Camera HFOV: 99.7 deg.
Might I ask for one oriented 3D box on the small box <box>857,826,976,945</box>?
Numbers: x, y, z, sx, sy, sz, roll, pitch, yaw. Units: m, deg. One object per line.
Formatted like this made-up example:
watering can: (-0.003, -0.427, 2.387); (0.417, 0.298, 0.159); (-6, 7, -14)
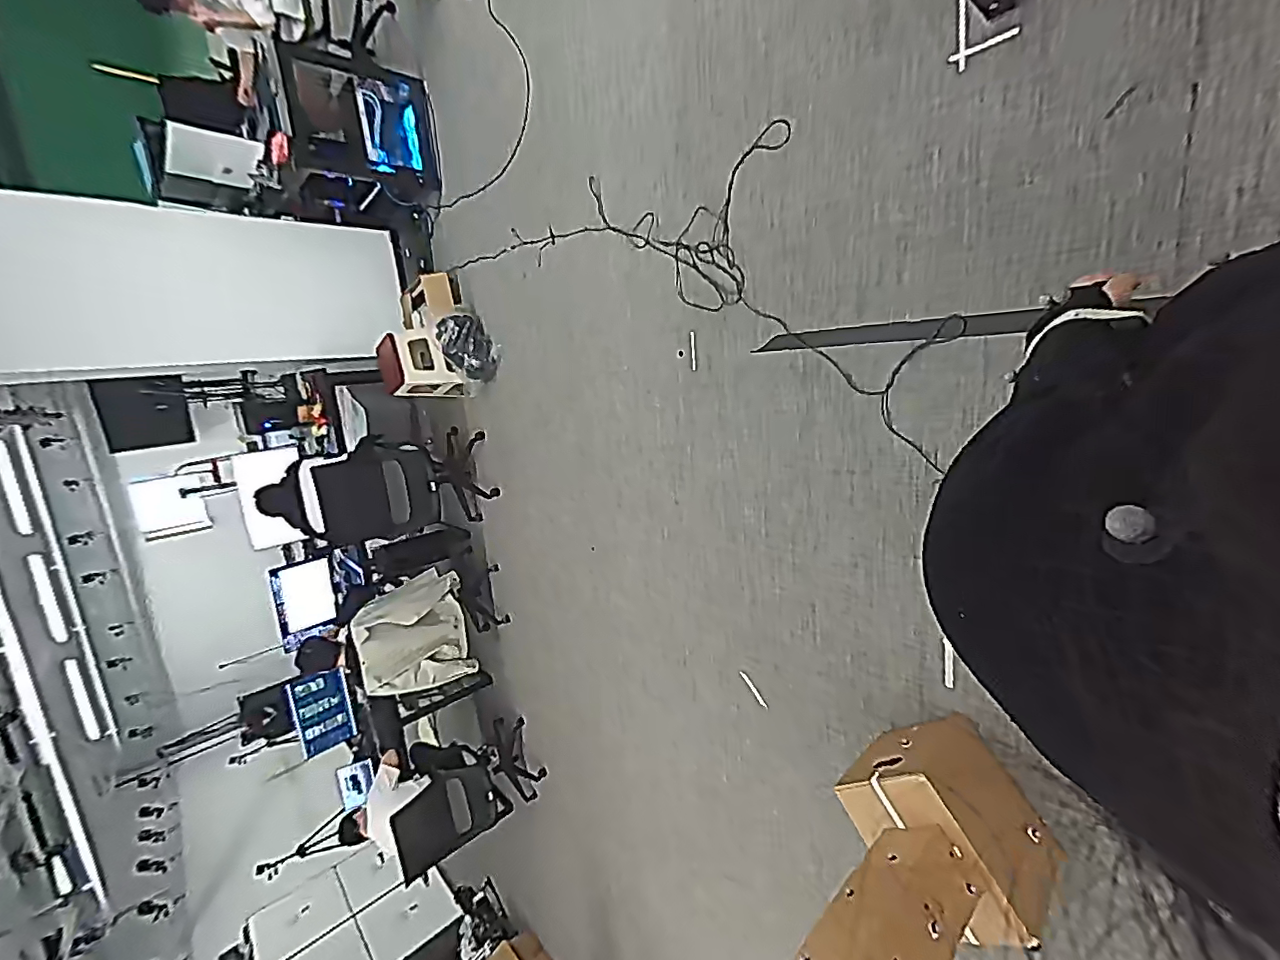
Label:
small box: (0.671, 0.965, 1.301); (0.168, 0.176, 0.179); (60, 138, 17)

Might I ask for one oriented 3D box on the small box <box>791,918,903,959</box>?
small box: (0.431, 1.028, 1.087); (0.179, 0.176, 0.168); (-46, 68, 46)

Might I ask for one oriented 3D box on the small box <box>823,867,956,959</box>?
small box: (0.552, 0.994, 1.194); (0.179, 0.176, 0.168); (-45, 69, 45)
